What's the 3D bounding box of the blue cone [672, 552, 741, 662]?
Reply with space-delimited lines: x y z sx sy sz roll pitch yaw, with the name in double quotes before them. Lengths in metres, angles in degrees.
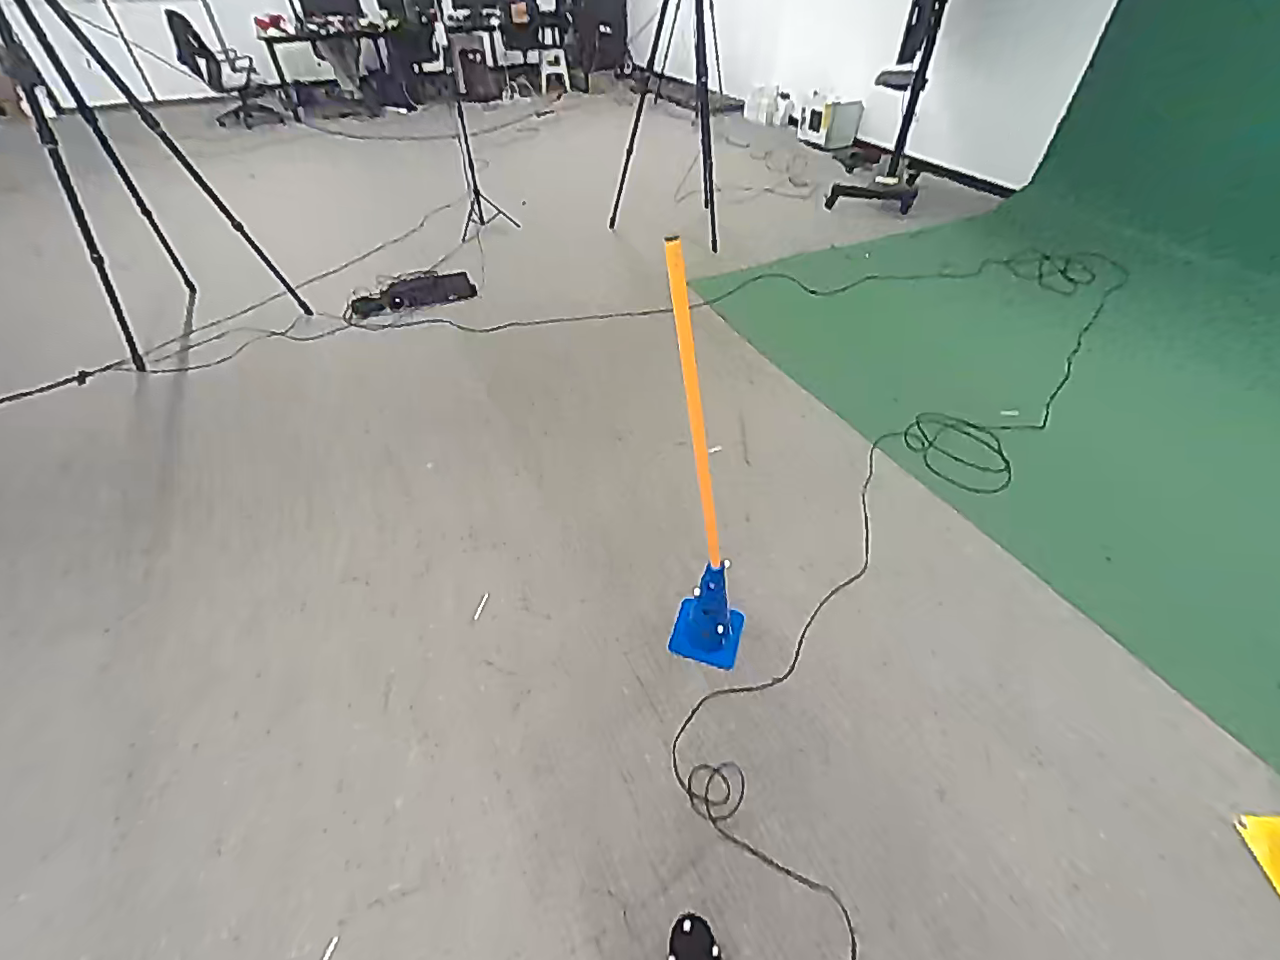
"blue cone" 0.196 0.335 1.509 0.193 0.380 0.192 11 47 13
